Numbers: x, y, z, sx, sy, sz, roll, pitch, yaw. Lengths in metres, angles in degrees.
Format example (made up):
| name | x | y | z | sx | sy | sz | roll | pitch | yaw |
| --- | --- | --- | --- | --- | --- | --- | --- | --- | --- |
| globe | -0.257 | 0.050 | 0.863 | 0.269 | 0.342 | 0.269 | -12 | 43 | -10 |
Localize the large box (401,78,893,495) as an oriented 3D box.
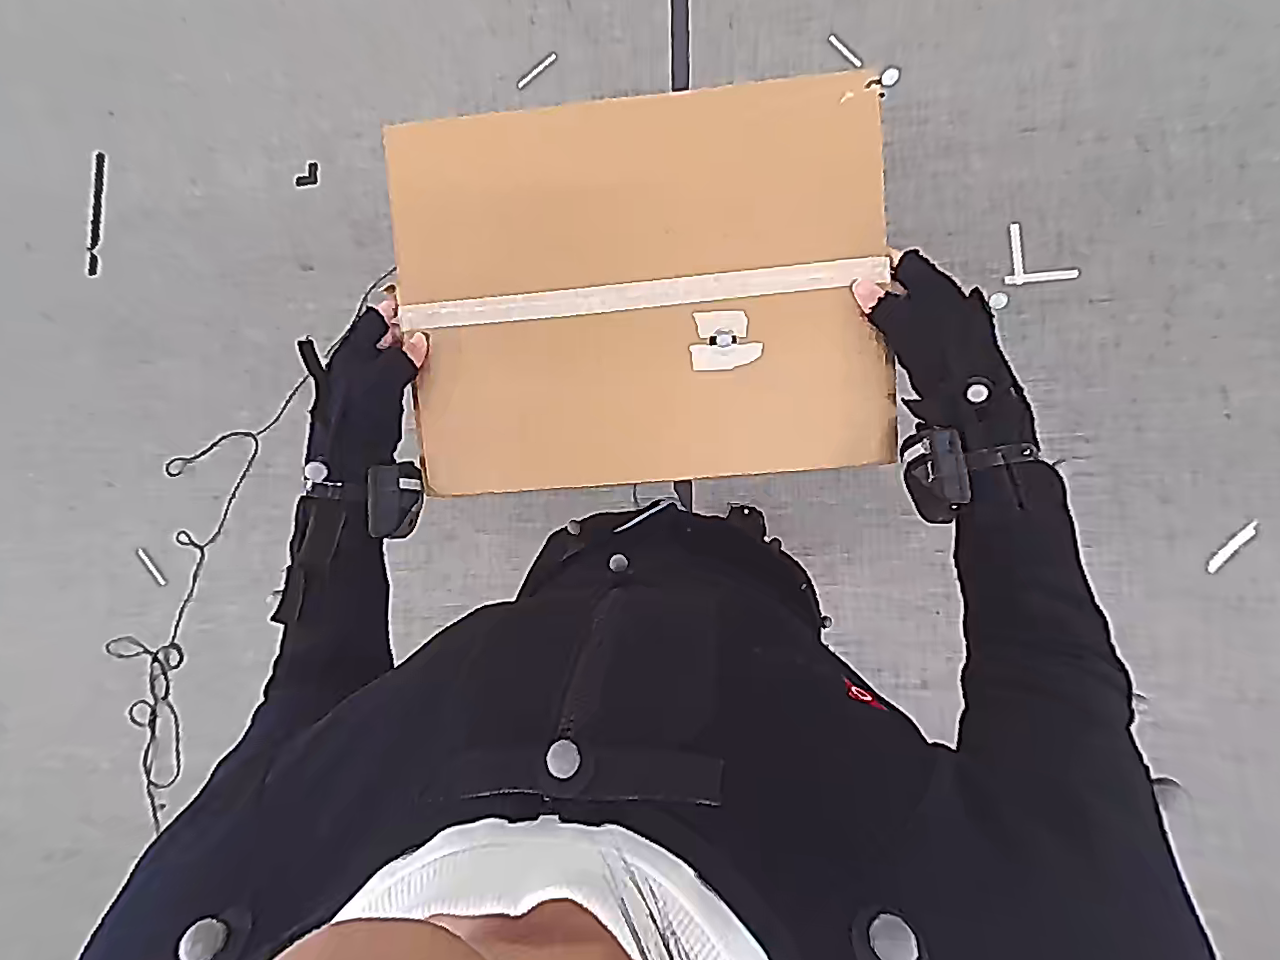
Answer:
| name | x | y | z | sx | sy | sz | roll | pitch | yaw |
| --- | --- | --- | --- | --- | --- | --- | --- | --- | --- |
| large box | 0.010 | -0.169 | 0.610 | 0.408 | 0.320 | 0.320 | -5 | 95 | 3 |
